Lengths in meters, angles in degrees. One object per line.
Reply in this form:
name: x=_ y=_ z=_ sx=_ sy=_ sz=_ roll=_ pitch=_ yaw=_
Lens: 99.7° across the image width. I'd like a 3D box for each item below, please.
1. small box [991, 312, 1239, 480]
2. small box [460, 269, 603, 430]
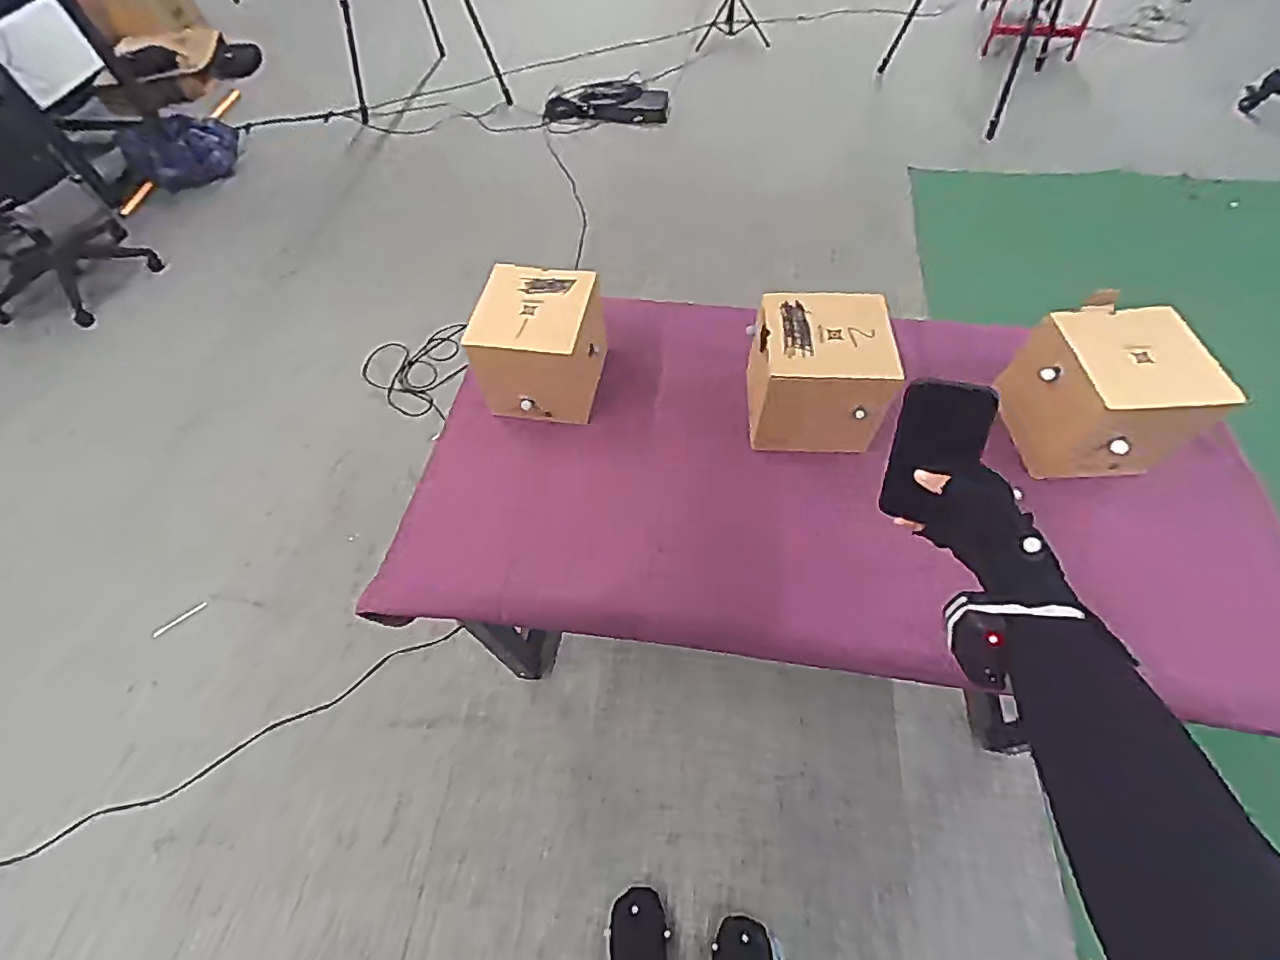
small box: x=0.645 y=-0.109 z=0.766 sx=0.168 sy=0.176 sz=0.179 roll=-3 pitch=57 yaw=2
small box: x=-0.158 y=-0.206 z=0.863 sx=0.168 sy=0.176 sz=0.179 roll=7 pitch=60 yaw=7
